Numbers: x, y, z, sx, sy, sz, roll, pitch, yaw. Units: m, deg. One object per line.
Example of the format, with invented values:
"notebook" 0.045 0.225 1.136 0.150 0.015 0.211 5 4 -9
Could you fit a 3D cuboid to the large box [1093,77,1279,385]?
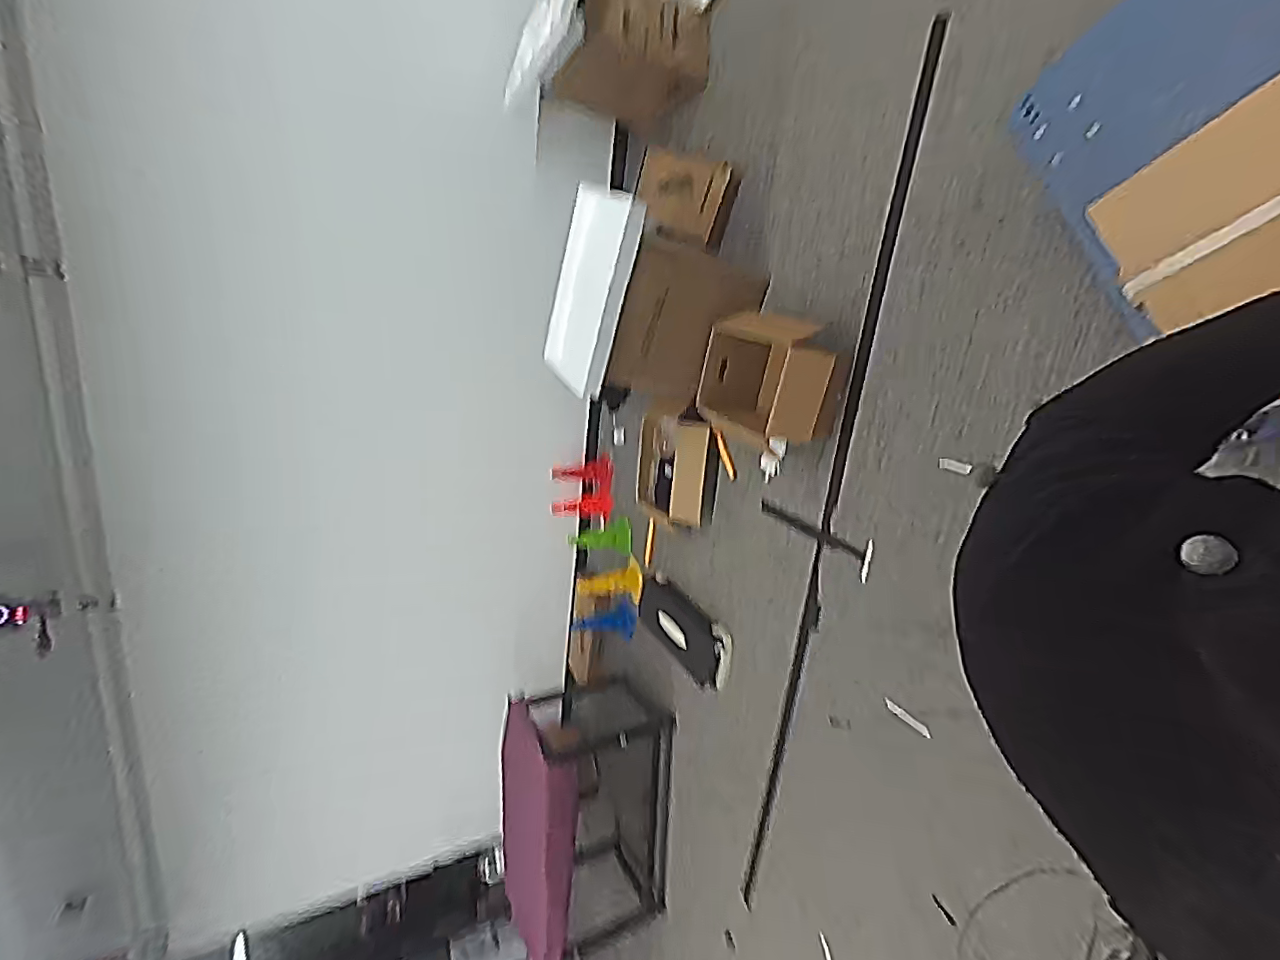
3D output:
"large box" 0.974 -0.373 0.737 0.408 0.320 0.320 -40 58 52
